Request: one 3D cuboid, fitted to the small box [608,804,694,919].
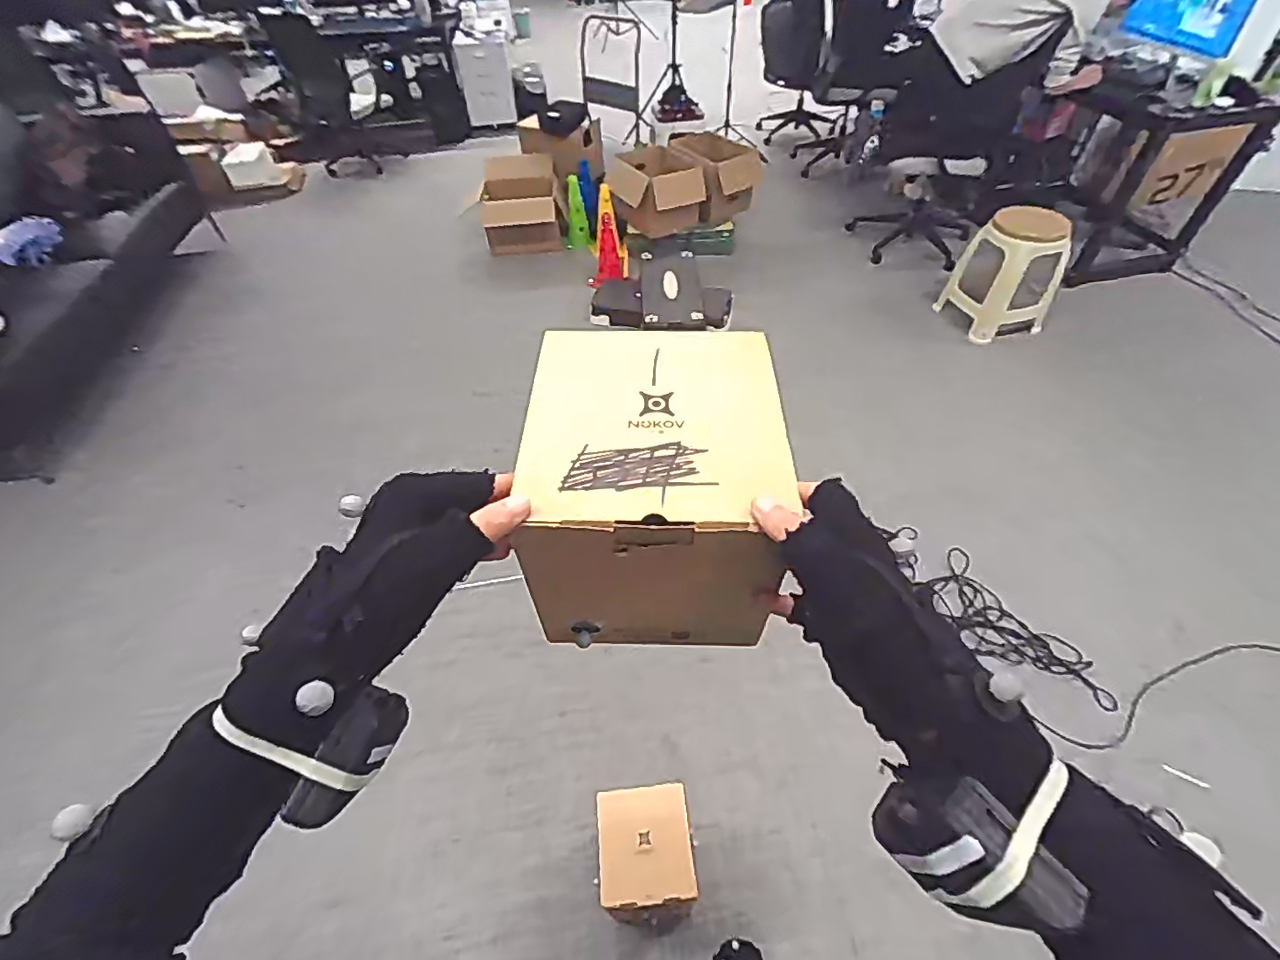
[{"bbox_3d":[0.020,0.810,1.148,0.168,0.176,0.179,-5,48,-1],"label":"small box"}]

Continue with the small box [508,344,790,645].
[{"bbox_3d":[0.010,0.015,0.419,0.168,0.176,0.179,1,50,1],"label":"small box"}]
